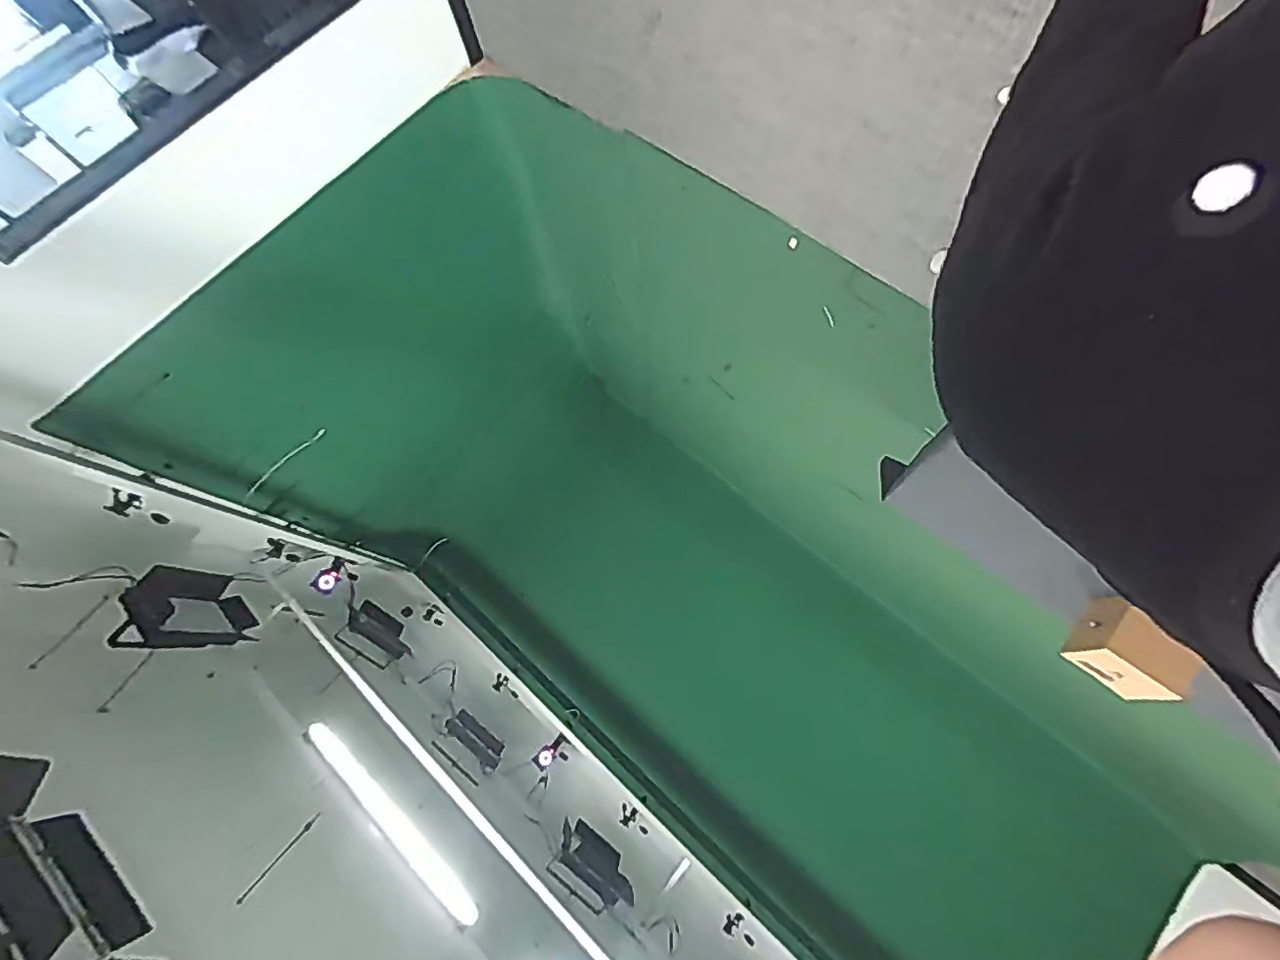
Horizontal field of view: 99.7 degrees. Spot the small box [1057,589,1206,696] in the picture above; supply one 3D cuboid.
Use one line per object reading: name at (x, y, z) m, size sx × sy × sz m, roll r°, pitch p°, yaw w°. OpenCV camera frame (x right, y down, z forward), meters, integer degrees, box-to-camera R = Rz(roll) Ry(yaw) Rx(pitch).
small box at (1.145, 0.378, 1.264) m, size 0.168 × 0.176 × 0.179 m, roll 38°, pitch 167°, yaw 18°
